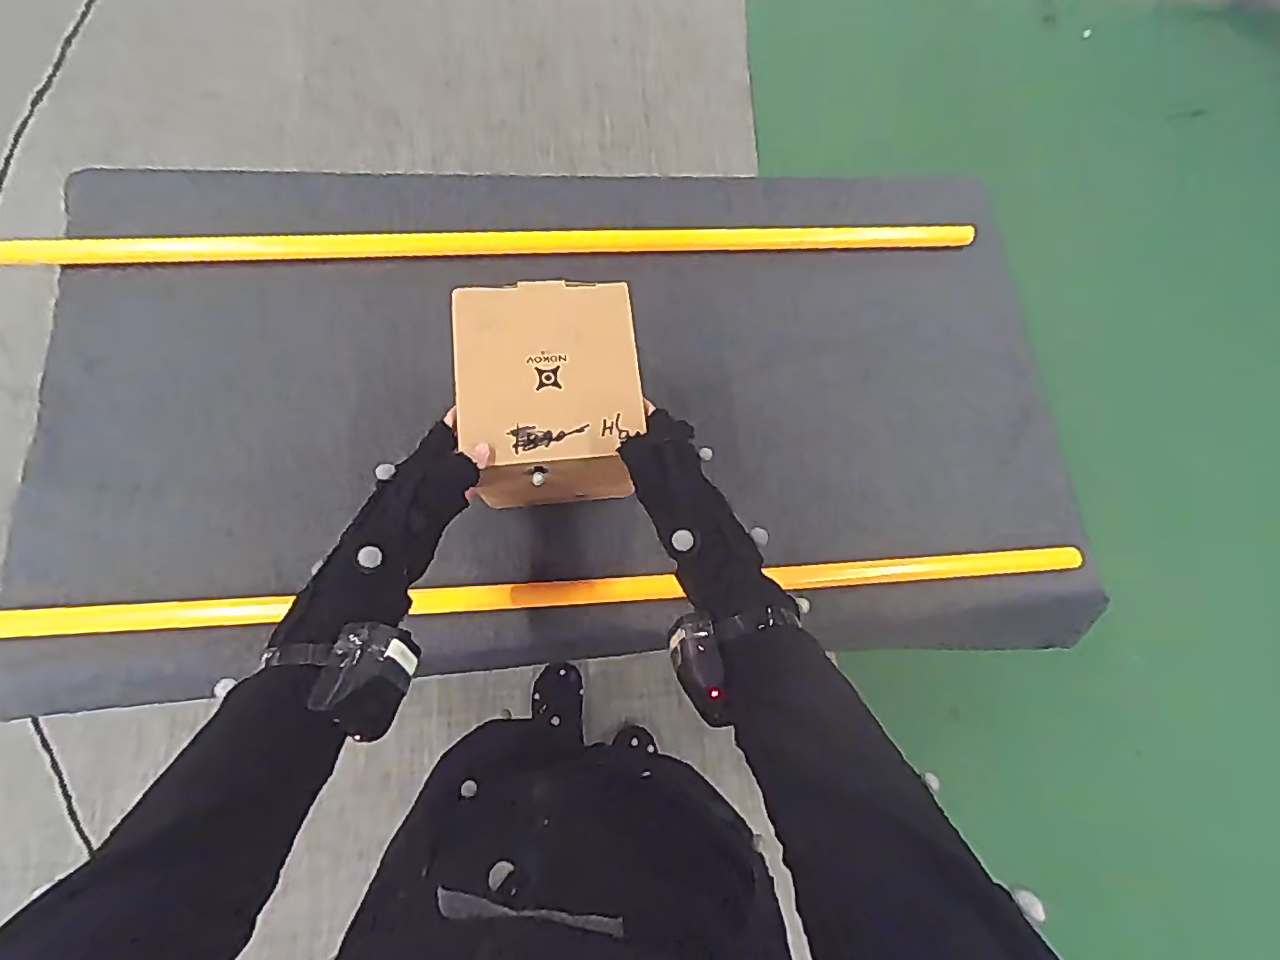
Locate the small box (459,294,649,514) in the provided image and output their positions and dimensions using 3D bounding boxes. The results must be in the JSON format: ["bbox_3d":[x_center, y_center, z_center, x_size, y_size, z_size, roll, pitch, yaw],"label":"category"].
[{"bbox_3d":[-0.090,-0.072,0.573,0.168,0.176,0.179,-6,75,-7],"label":"small box"}]
